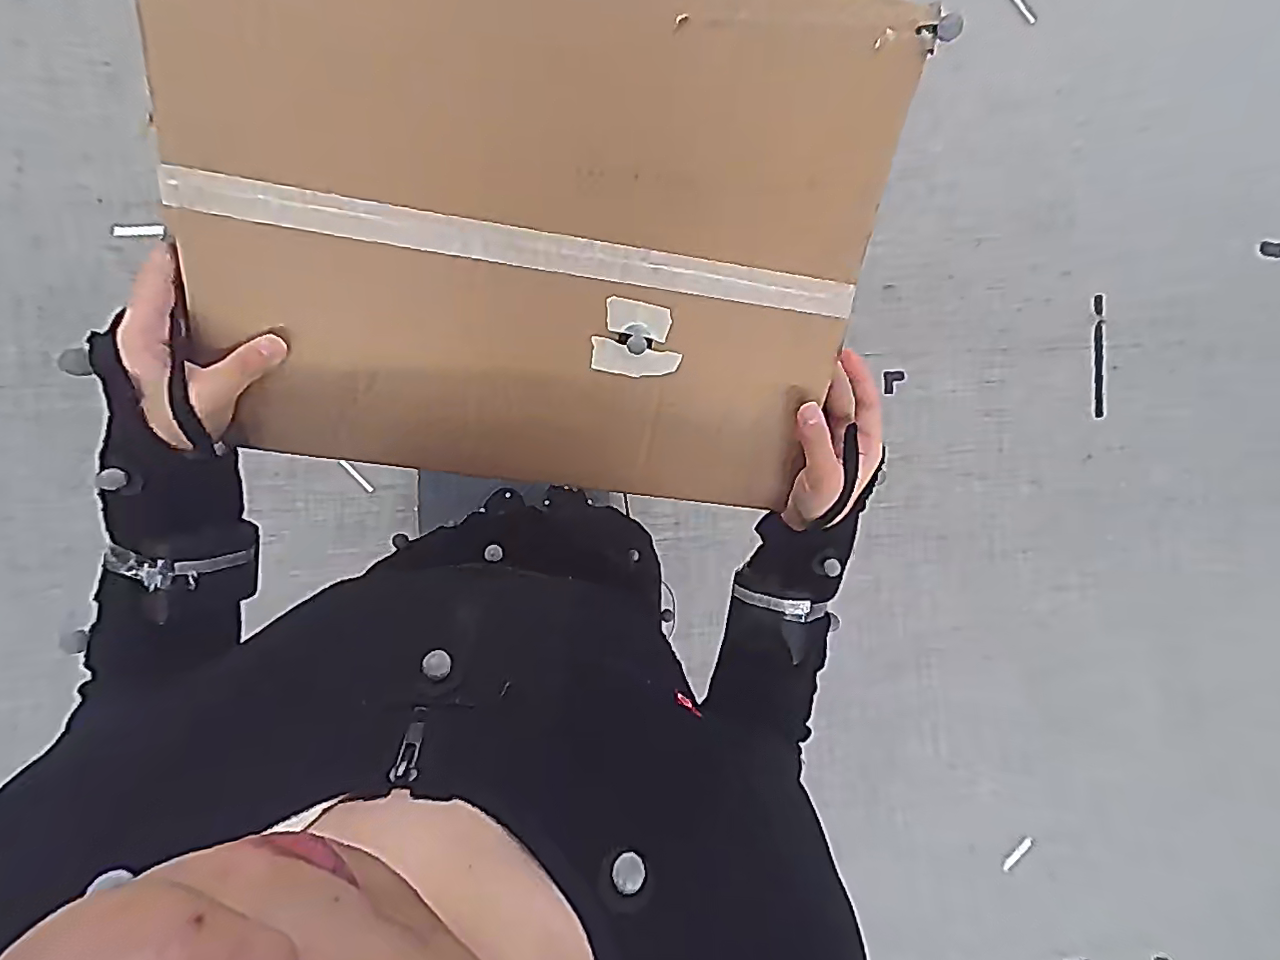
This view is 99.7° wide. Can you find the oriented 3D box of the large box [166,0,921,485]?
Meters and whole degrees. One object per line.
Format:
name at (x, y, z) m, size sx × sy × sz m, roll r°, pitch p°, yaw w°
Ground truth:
large box at (-0.073, -0.213, 0.468) m, size 0.408 × 0.320 × 0.320 m, roll 7°, pitch 114°, yaw -8°
